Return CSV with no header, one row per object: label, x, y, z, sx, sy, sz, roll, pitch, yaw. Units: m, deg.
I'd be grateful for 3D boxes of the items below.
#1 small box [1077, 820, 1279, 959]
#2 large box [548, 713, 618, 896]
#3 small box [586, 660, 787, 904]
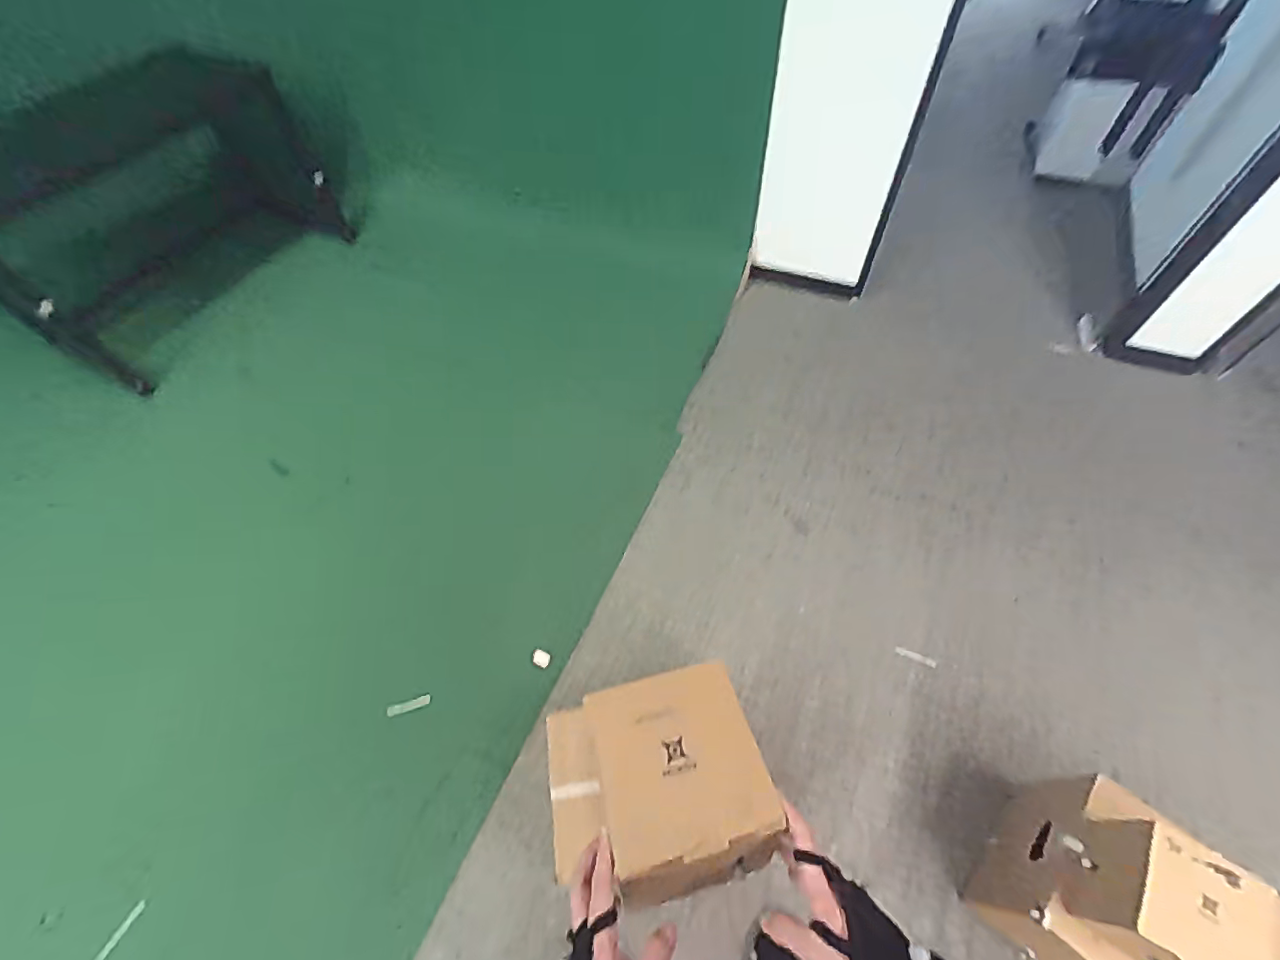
small box,0.859,0.689,0.876,0.168,0.176,0.179,29,64,20
large box,0.031,0.694,1.219,0.408,0.320,0.320,-10,55,-2
small box,0.042,0.334,0.594,0.168,0.176,0.179,-11,42,-9
